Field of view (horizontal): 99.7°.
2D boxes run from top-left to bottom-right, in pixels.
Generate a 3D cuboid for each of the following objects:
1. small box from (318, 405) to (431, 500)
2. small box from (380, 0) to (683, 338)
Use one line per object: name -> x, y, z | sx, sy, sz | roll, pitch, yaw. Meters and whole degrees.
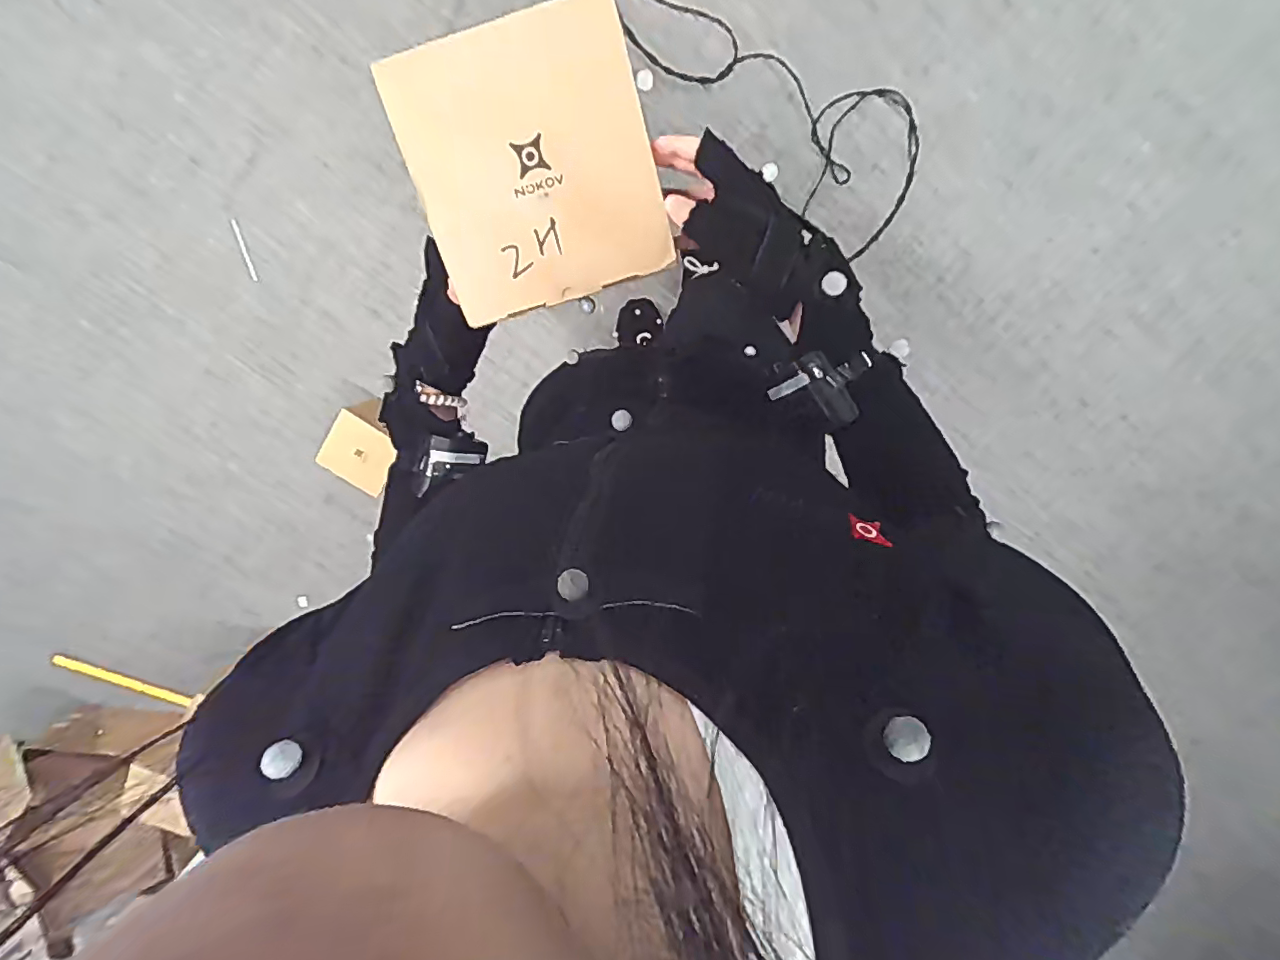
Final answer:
small box -> -0.682, -0.080, 1.408 | 0.179, 0.176, 0.168 | 33, 106, -10
small box -> -0.070, -0.228, 0.443 | 0.168, 0.176, 0.179 | -15, 110, 5
